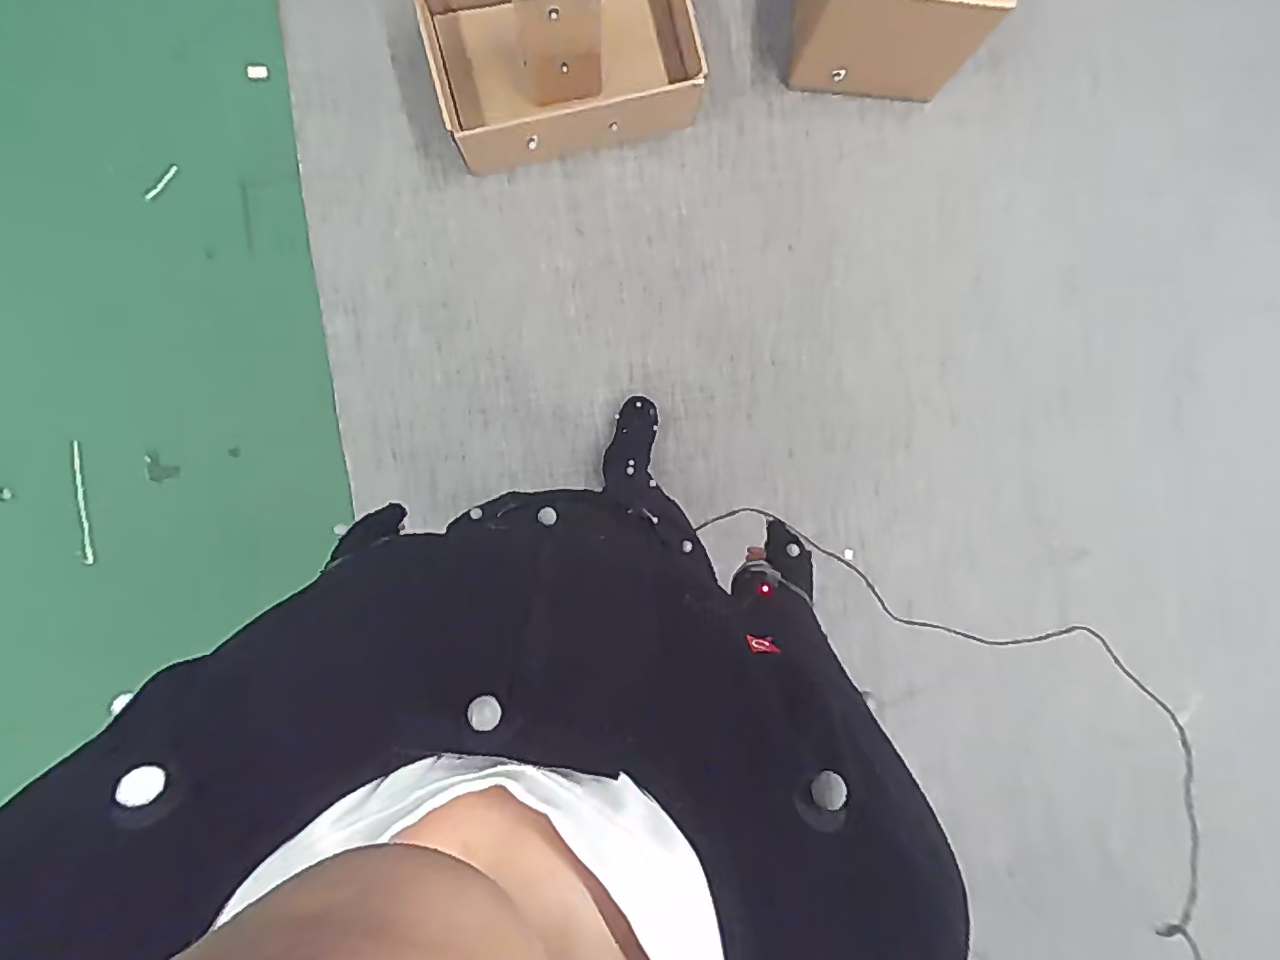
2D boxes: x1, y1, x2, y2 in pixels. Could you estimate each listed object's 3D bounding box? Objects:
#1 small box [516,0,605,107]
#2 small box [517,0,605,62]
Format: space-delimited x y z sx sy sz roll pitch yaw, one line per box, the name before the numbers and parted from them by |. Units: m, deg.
small box | -0.185 -1.040 1.303 0.179 0.176 0.168 -13 93 -4
small box | -0.172 -1.024 1.139 0.179 0.176 0.168 -11 92 -4
